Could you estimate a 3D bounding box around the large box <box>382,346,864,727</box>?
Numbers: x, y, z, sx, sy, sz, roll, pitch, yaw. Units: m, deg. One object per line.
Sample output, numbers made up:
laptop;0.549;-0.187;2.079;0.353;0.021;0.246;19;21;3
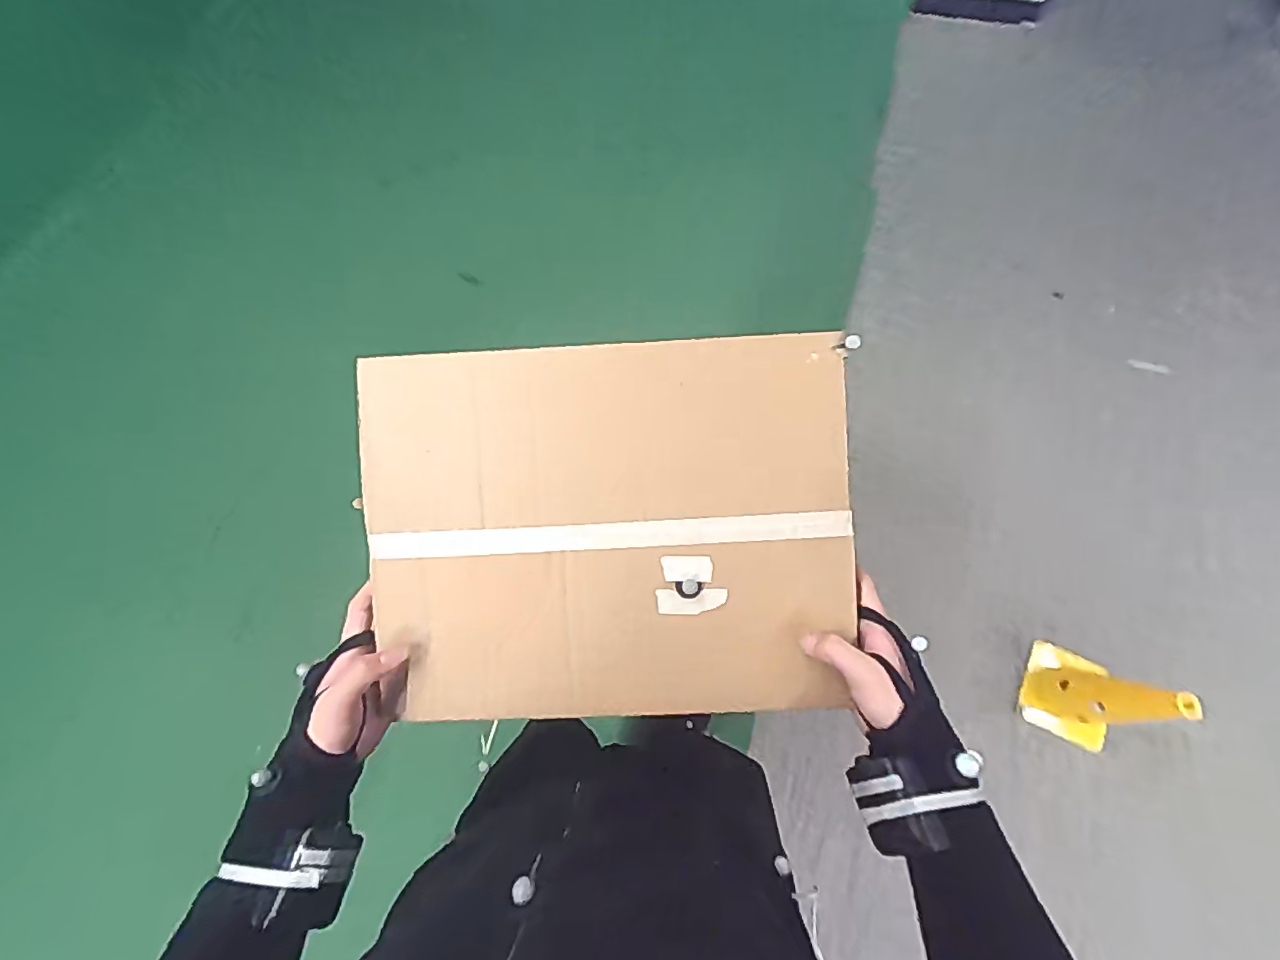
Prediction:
large box;-0.013;0.047;0.608;0.408;0.320;0.320;-3;93;1
